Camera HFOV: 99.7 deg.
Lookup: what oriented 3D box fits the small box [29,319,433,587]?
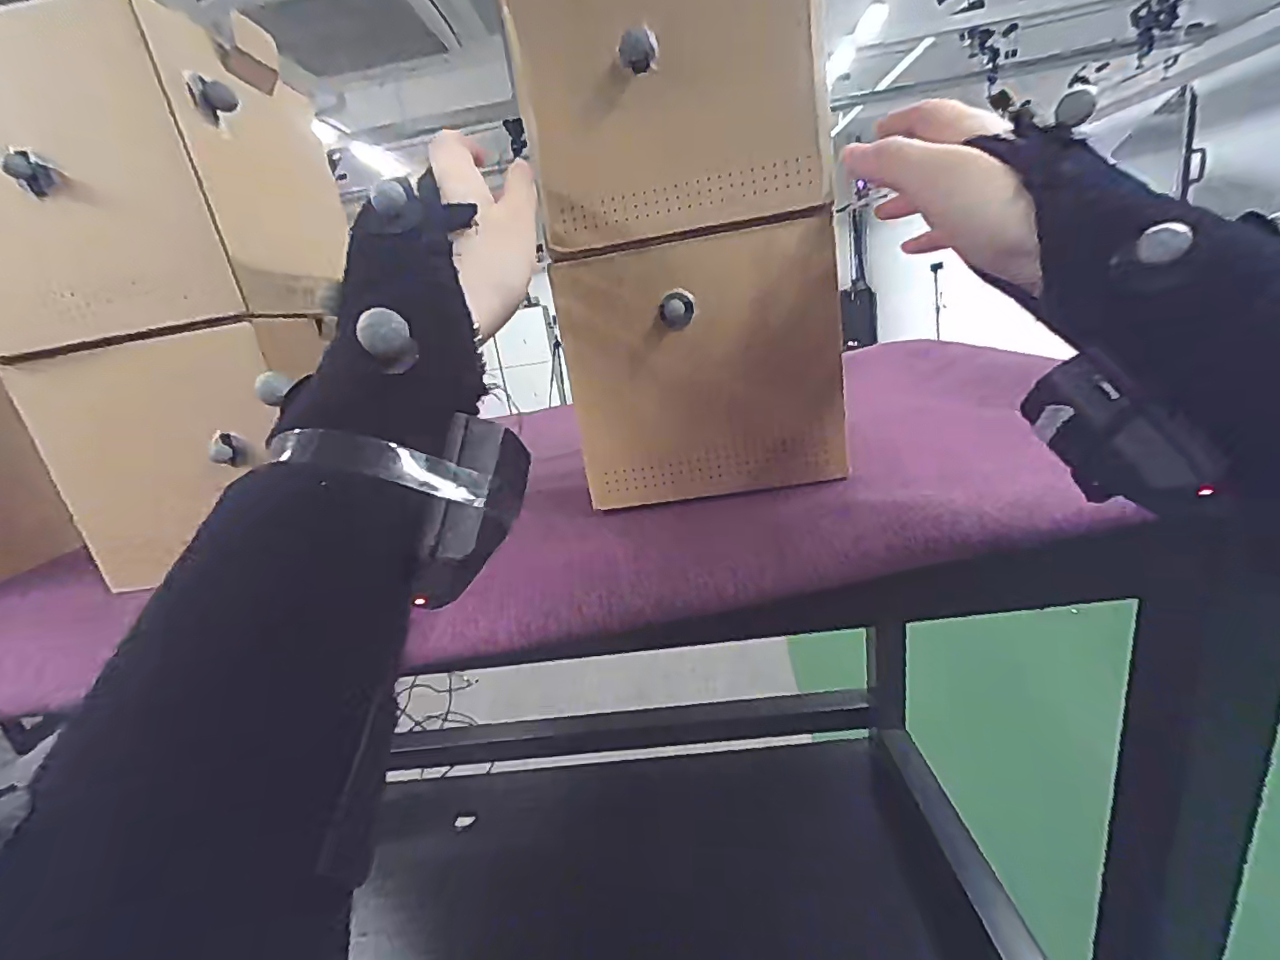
[{"bbox_3d":[-0.294,-0.031,0.439,0.179,0.176,0.168,-9,16,4],"label":"small box"}]

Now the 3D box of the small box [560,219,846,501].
[{"bbox_3d":[0.051,-0.087,0.432,0.179,0.176,0.168,-7,14,6],"label":"small box"}]

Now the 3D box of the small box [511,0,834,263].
[{"bbox_3d":[0.028,-0.244,0.393,0.179,0.176,0.168,-8,14,7],"label":"small box"}]
